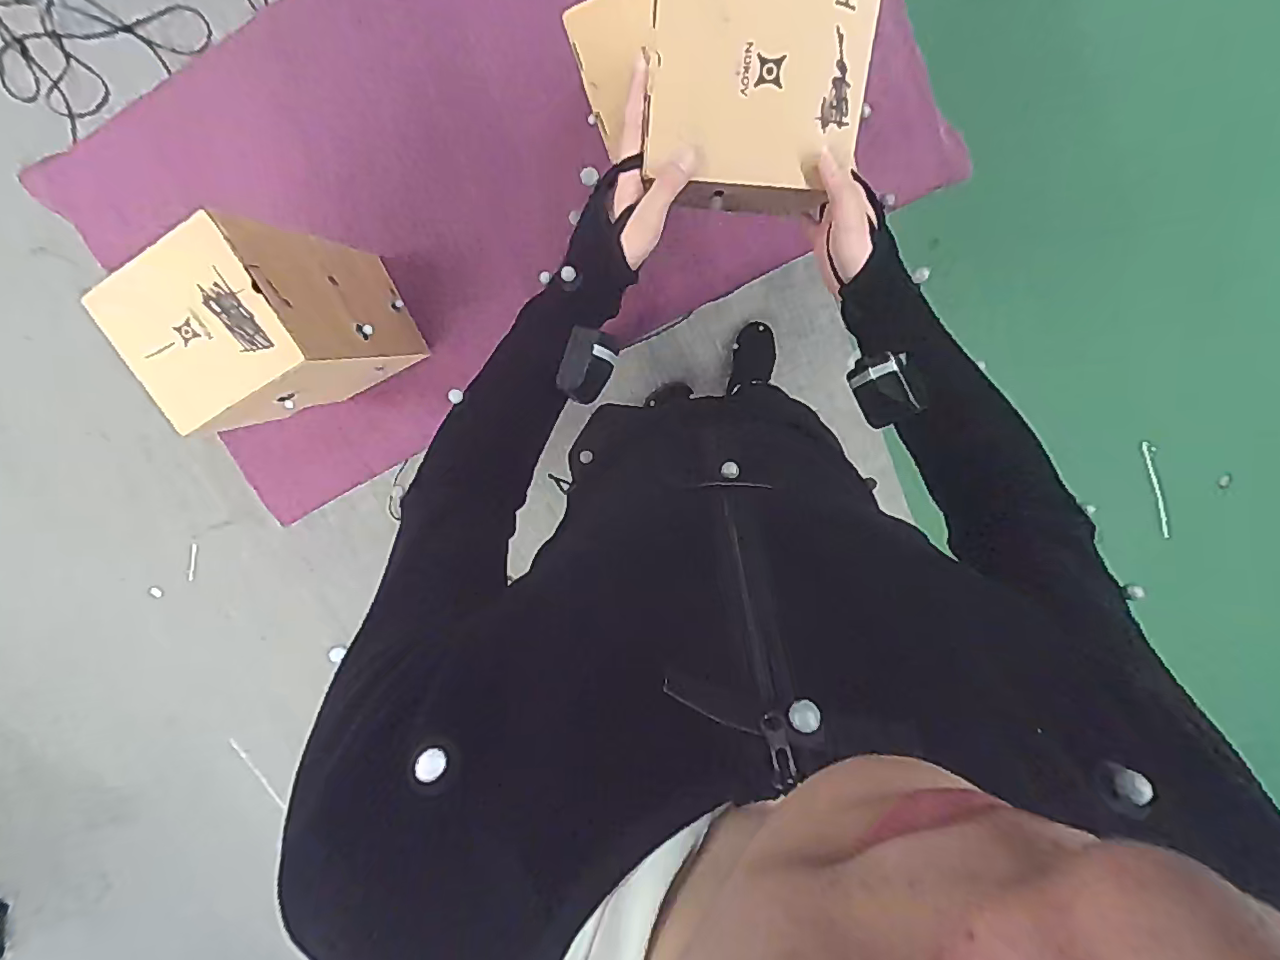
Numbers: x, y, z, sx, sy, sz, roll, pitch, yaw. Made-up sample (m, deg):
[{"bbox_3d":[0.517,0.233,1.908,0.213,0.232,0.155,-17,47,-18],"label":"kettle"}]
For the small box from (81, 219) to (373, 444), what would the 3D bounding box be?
[{"bbox_3d":[-0.441,-0.164,0.619,0.179,0.176,0.168,-27,101,9],"label":"small box"}]

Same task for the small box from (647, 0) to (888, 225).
[{"bbox_3d":[0.100,-0.344,0.508,0.179,0.176,0.168,5,109,-1],"label":"small box"}]

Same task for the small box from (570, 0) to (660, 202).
[{"bbox_3d":[0.030,-0.487,0.691,0.179,0.176,0.168,-20,103,8],"label":"small box"}]
